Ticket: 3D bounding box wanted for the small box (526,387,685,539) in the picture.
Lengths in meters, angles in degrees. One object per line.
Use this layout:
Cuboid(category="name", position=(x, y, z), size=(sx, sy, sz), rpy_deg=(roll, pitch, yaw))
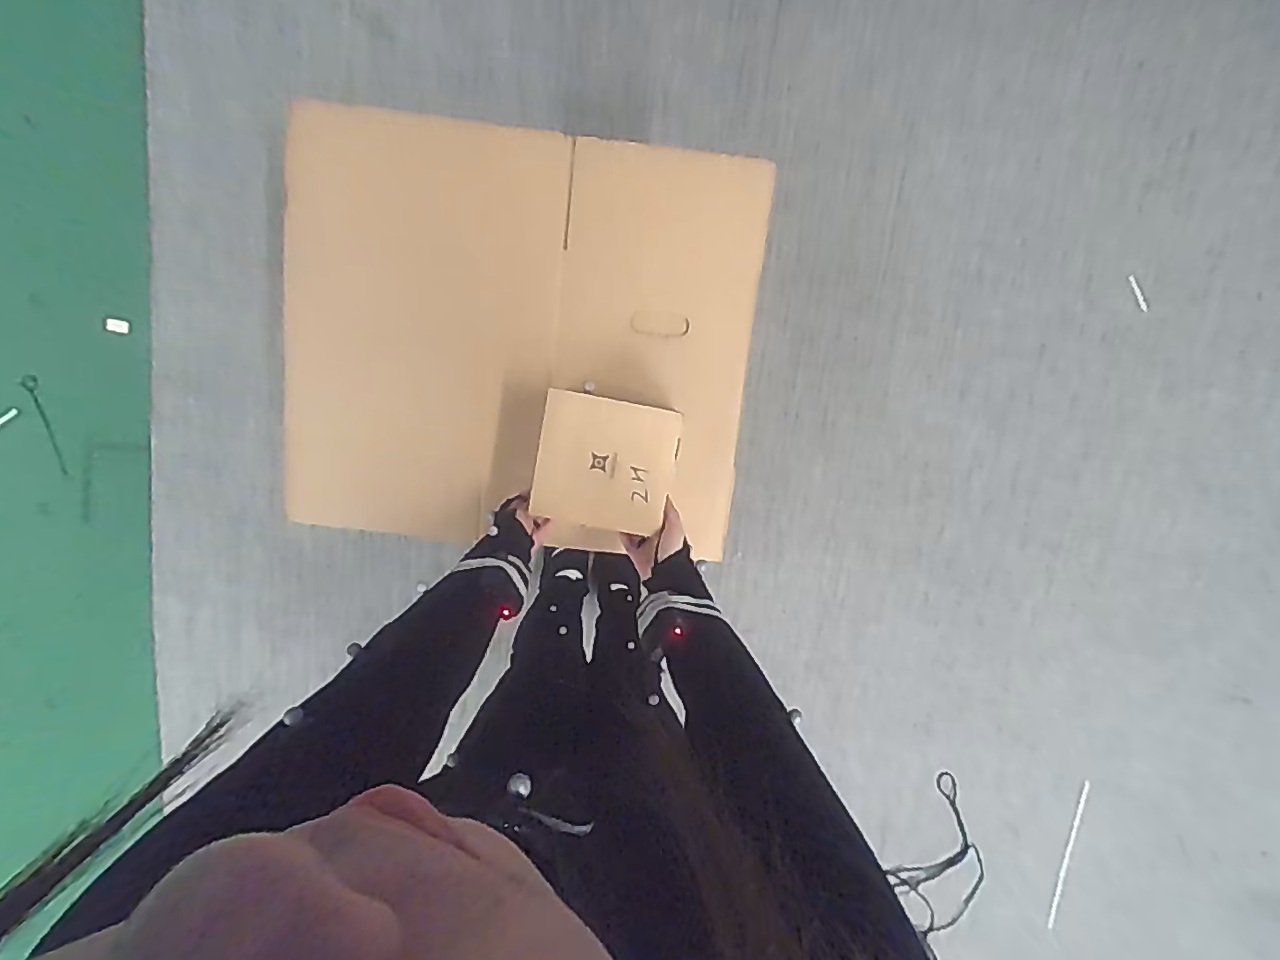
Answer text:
Cuboid(category="small box", position=(-0.044, -0.031, 0.760), size=(0.179, 0.176, 0.168), rpy_deg=(12, 100, -2))
